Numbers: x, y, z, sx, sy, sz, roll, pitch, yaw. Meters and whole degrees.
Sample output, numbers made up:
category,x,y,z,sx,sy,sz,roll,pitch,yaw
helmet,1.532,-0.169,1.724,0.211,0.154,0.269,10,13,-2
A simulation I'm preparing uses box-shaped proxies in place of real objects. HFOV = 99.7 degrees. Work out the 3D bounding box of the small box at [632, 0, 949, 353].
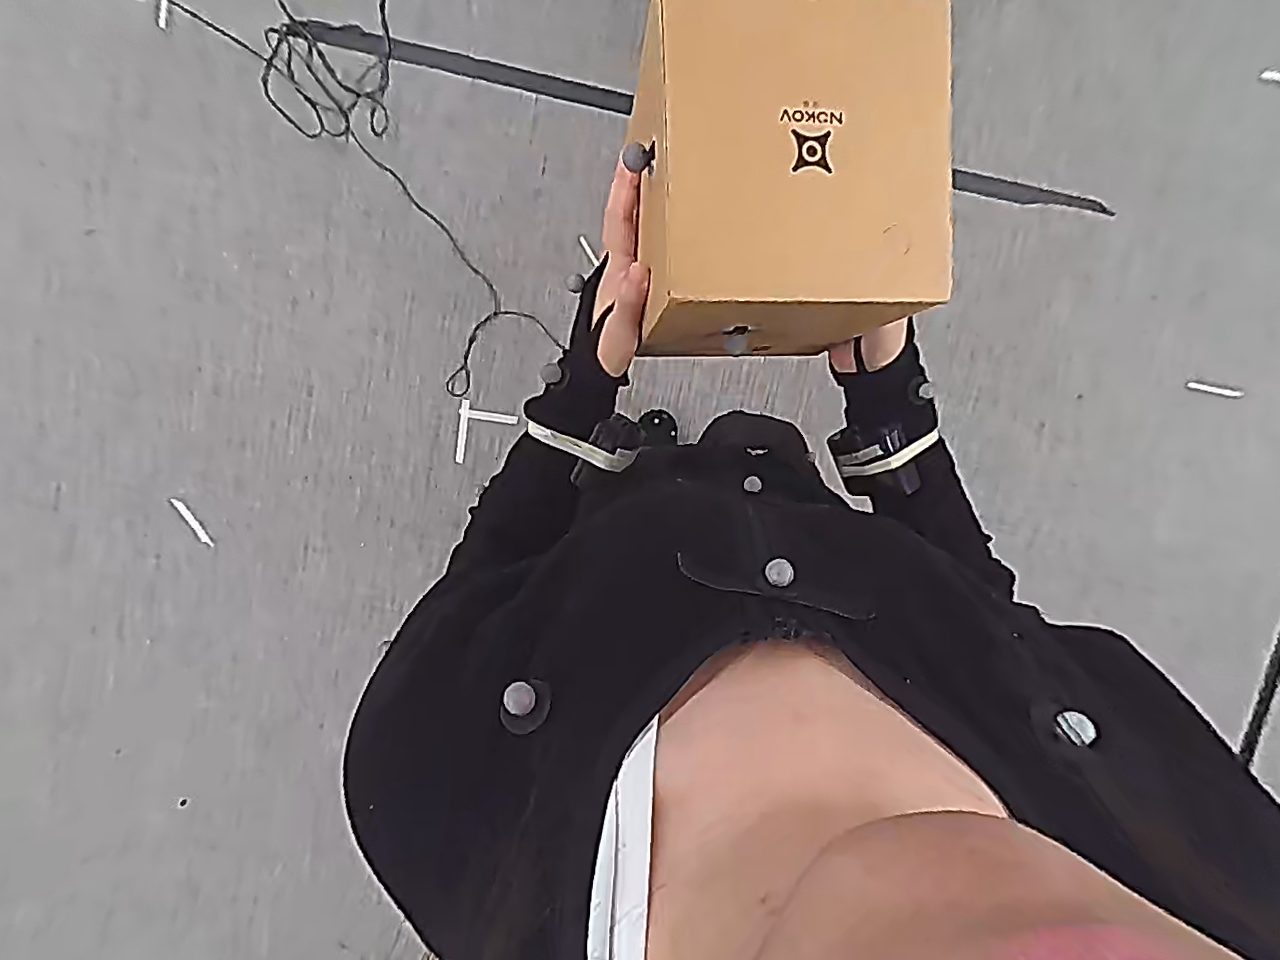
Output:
category,x,y,z,sx,sy,sz,roll,pitch,yaw
small box,0.086,-0.190,0.381,0.168,0.176,0.179,-2,91,-7
